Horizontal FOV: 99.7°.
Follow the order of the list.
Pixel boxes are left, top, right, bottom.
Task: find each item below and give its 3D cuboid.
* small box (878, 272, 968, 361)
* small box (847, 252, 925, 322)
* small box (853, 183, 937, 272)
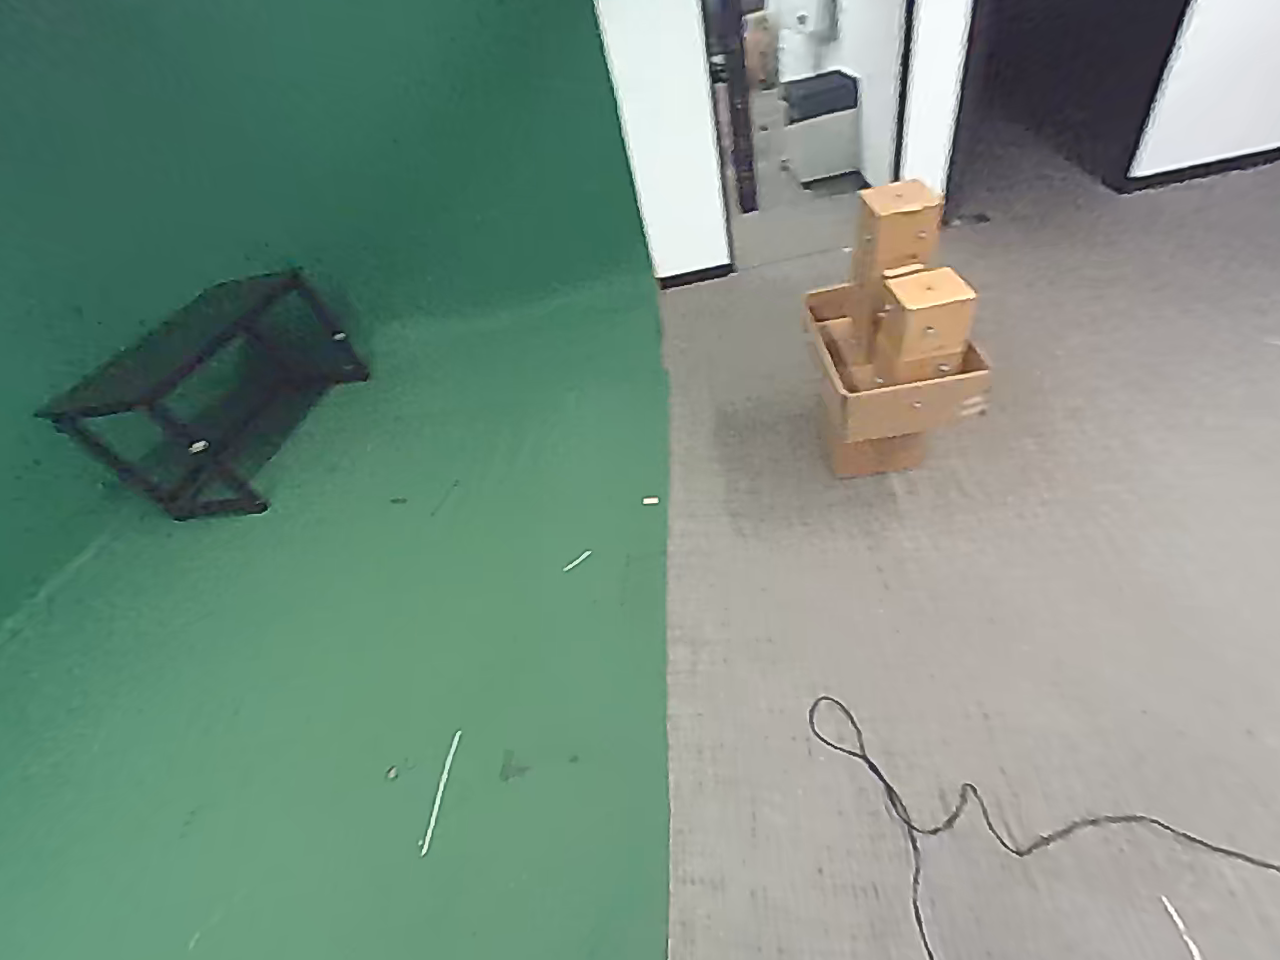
[{"bbox_3d":[0.773,-0.444,1.493,0.168,0.176,0.179,-10,44,8],"label":"small box"},{"bbox_3d":[0.749,-0.606,1.664,0.168,0.176,0.179,-12,46,6],"label":"small box"},{"bbox_3d":[0.720,-0.714,1.546,0.168,0.176,0.179,-10,47,7],"label":"small box"}]
